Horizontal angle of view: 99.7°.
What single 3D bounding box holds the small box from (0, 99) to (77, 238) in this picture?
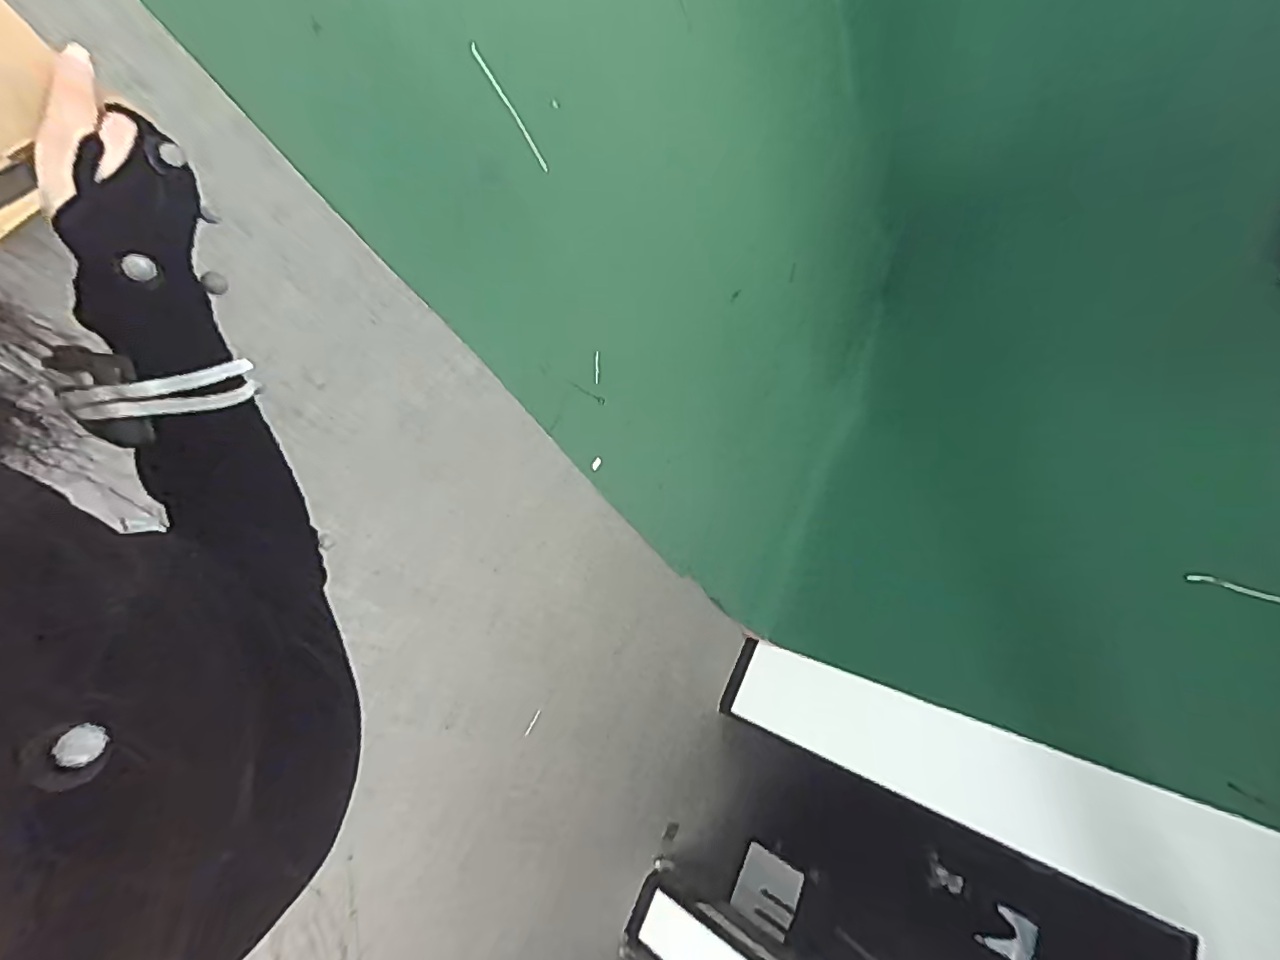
[{"bbox_3d":[-1.078,-0.518,0.874,0.168,0.176,0.179,49,62,-44],"label":"small box"}]
